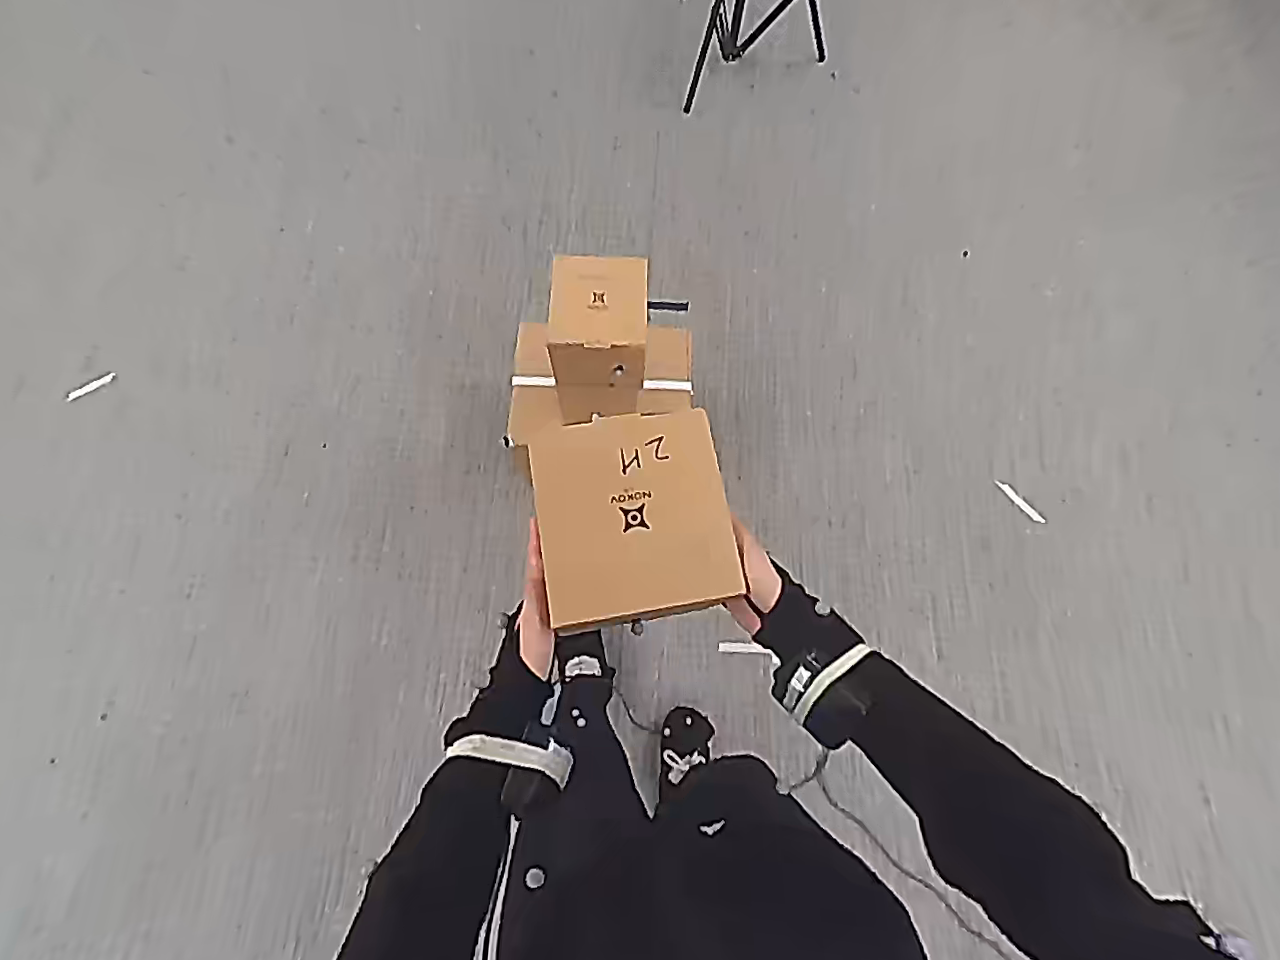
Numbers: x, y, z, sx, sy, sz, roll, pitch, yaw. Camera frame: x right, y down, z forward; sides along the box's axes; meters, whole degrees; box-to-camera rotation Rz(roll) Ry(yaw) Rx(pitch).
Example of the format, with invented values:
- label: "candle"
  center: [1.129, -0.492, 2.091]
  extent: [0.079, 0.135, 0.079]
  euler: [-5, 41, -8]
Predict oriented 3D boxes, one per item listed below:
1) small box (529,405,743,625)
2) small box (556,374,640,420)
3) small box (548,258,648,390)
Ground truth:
- label: "small box"
  center: [-0.013, 0.046, 0.541]
  extent: [0.168, 0.176, 0.179]
  euler: [-8, 73, -9]
- label: "small box"
  center: [-0.083, -0.234, 1.143]
  extent: [0.168, 0.176, 0.179]
  euler: [2, 73, -2]
- label: "small box"
  center: [-0.072, -0.276, 0.986]
  extent: [0.168, 0.176, 0.179]
  euler: [1, 72, -3]
